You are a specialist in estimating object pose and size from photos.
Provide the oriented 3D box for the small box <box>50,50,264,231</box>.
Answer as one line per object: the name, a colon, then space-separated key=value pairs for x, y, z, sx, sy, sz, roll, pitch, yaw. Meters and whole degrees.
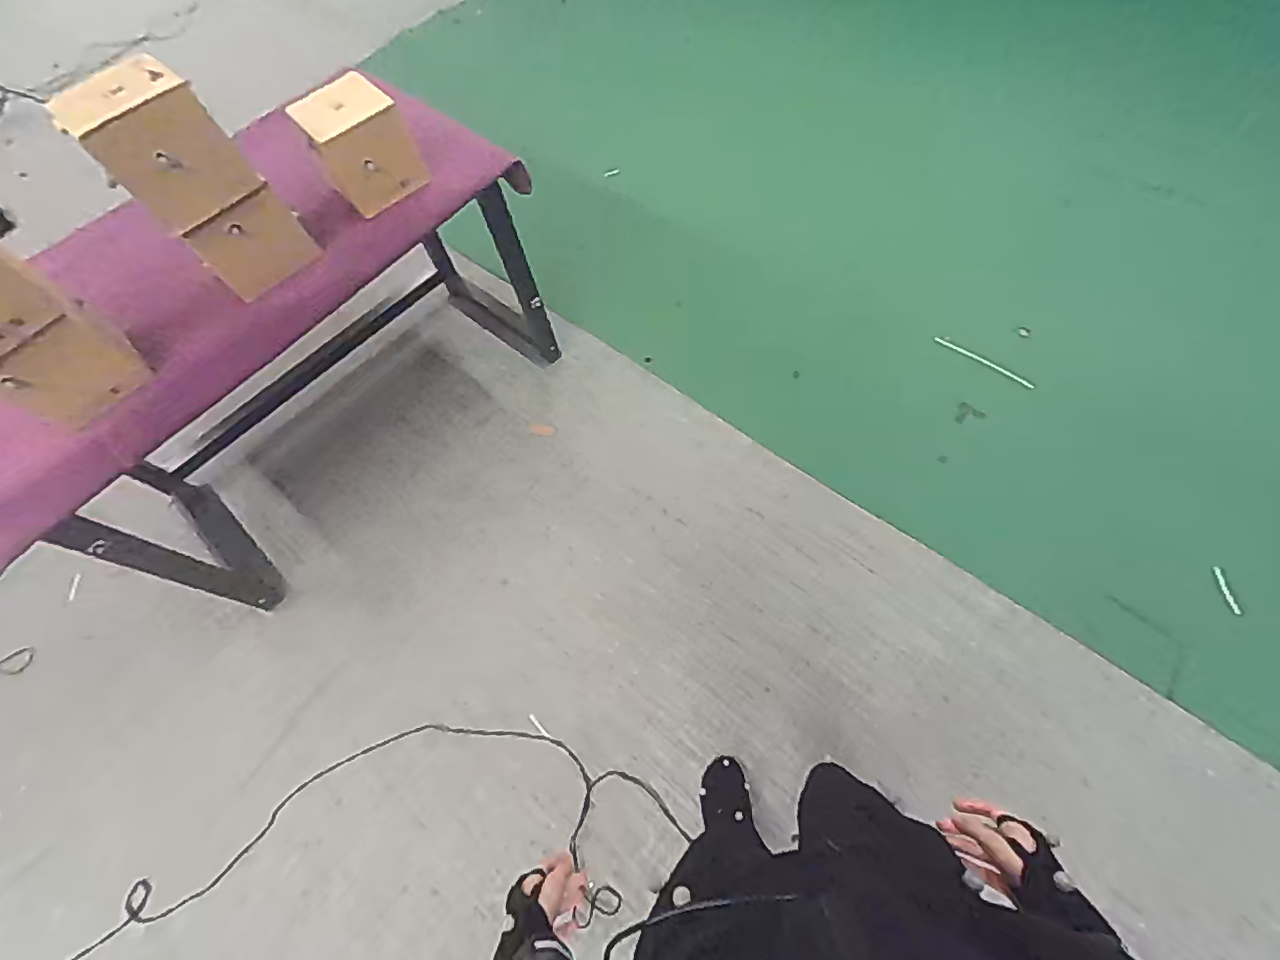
small box: x=-0.777 y=-0.548 z=0.887 sx=0.168 sy=0.176 sz=0.179 roll=39 pitch=75 yaw=22

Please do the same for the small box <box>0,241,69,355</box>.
small box: x=-1.016 y=-0.295 z=0.787 sx=0.179 sy=0.176 sz=0.168 roll=34 pitch=72 yaw=21

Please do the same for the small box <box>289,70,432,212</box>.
small box: x=-0.566 y=-0.689 z=1.117 sx=0.168 sy=0.176 sz=0.179 roll=-40 pitch=66 yaw=-12

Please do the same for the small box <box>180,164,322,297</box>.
small box: x=-0.764 y=-0.490 z=1.040 sx=0.179 sy=0.176 sz=0.168 roll=-43 pitch=66 yaw=-15
